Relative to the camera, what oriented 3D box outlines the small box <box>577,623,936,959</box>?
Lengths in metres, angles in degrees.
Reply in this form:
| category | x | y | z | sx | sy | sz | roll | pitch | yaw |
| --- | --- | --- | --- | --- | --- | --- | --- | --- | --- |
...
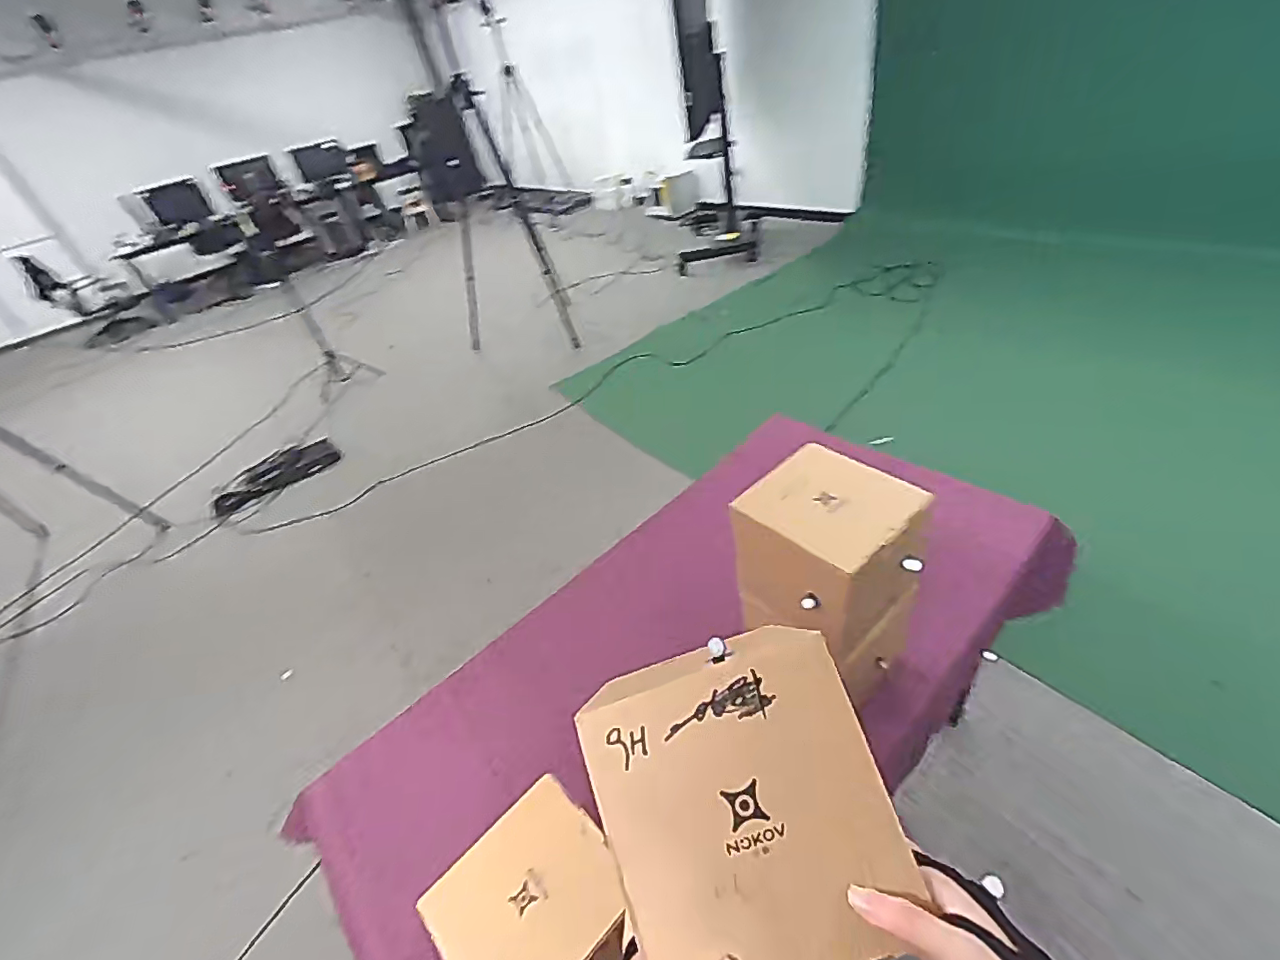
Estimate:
| category | x | y | z | sx | sy | sz | roll | pitch | yaw |
| --- | --- | --- | --- | --- | --- | --- | --- | --- | --- |
| small box | 0.069 | 0.215 | 0.395 | 0.168 | 0.176 | 0.179 | -19 | 76 | 0 |

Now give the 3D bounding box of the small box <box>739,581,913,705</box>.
| category | x | y | z | sx | sy | sz | roll | pitch | yaw |
| --- | --- | --- | --- | --- | --- | --- | --- | --- | --- |
| small box | 0.272 | 0.212 | 0.804 | 0.168 | 0.176 | 0.179 | -35 | 43 | -25 |

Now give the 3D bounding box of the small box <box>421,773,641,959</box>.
| category | x | y | z | sx | sy | sz | roll | pitch | yaw |
| --- | --- | --- | --- | --- | --- | --- | --- | --- | --- |
| small box | -0.098 | 0.480 | 0.595 | 0.179 | 0.176 | 0.168 | -37 | 43 | -27 |

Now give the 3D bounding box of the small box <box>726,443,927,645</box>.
| category | x | y | z | sx | sy | sz | roll | pitch | yaw |
| --- | --- | --- | --- | --- | --- | --- | --- | --- | --- |
| small box | 0.238 | 0.086 | 0.706 | 0.168 | 0.176 | 0.179 | -34 | 42 | -23 |
